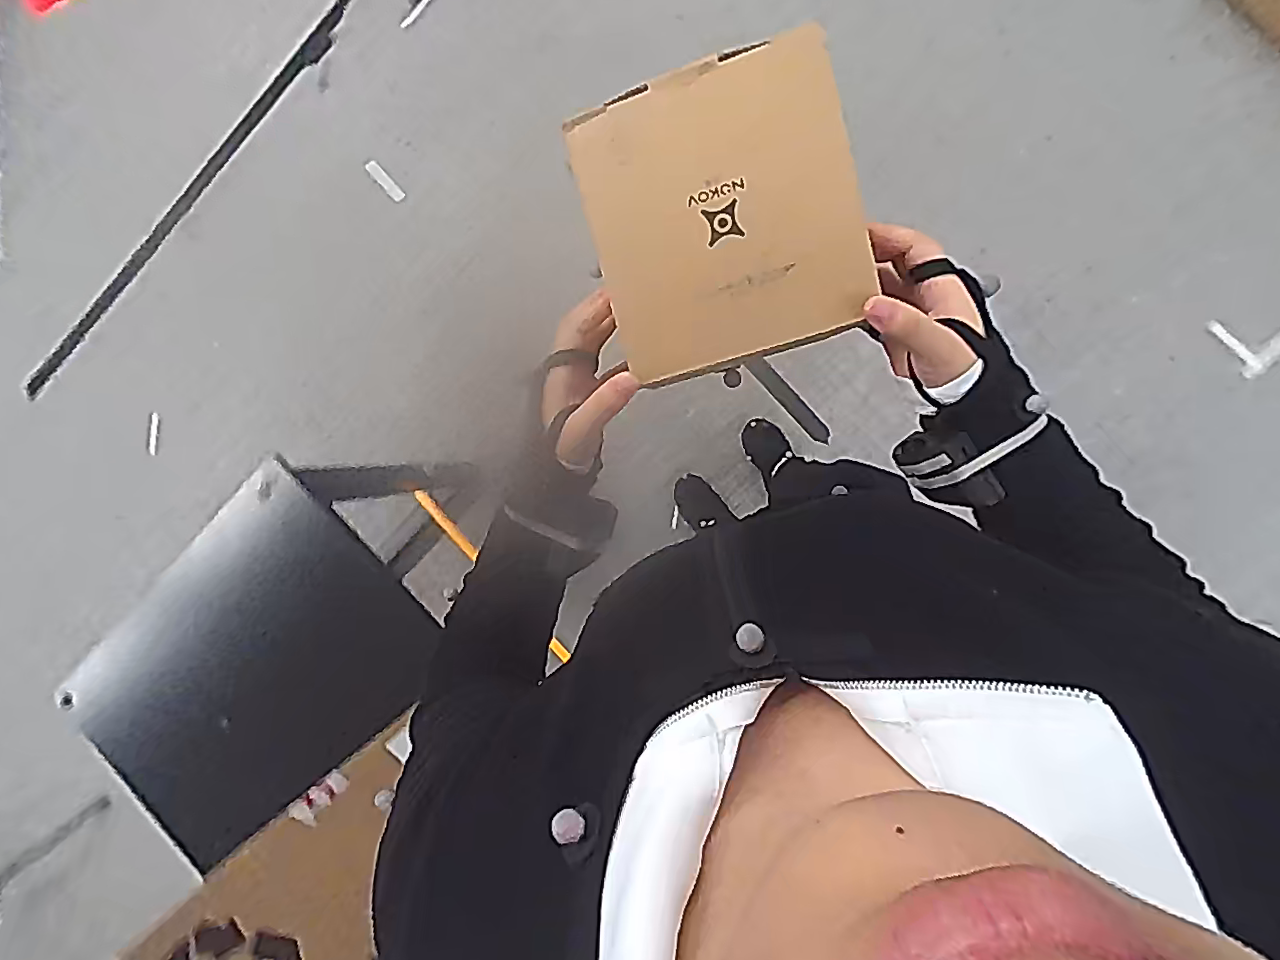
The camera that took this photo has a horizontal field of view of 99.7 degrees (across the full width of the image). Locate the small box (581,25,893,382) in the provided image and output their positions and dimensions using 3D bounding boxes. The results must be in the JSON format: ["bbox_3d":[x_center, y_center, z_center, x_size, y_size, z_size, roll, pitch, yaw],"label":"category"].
[{"bbox_3d":[0.068,-0.179,0.416,0.168,0.176,0.179,-14,98,9],"label":"small box"}]
